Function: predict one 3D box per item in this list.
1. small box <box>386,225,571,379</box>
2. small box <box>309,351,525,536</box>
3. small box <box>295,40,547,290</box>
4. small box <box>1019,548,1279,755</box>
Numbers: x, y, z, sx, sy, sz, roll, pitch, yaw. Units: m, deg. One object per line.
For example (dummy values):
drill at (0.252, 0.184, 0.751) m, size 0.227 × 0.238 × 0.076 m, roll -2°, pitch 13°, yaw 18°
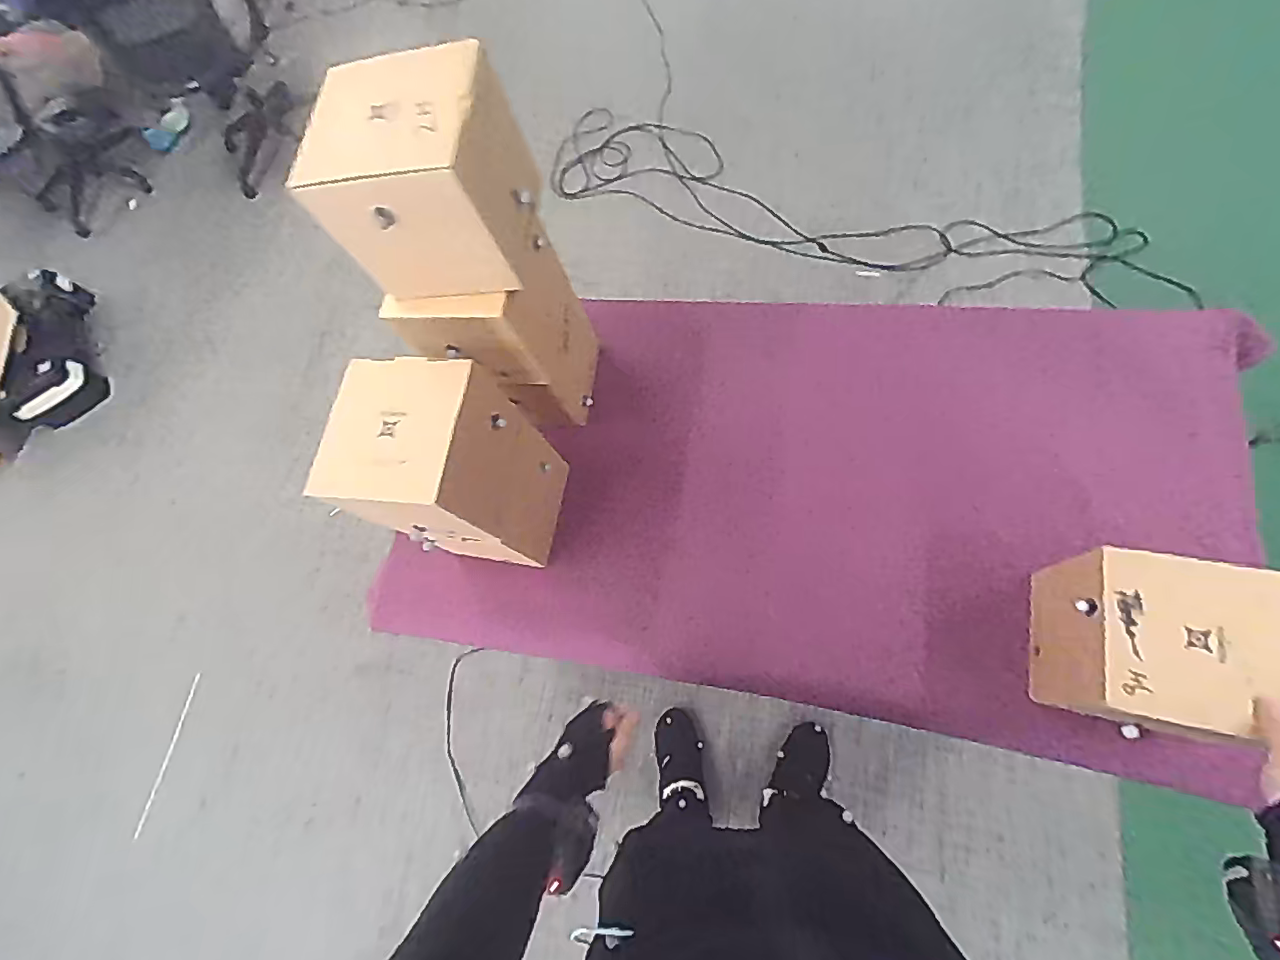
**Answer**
small box at (-0.206, -0.252, 0.742) m, size 0.168 × 0.176 × 0.179 m, roll 4°, pitch 72°, yaw 13°
small box at (-0.260, -0.040, 0.678) m, size 0.168 × 0.176 × 0.179 m, roll 5°, pitch 72°, yaw 13°
small box at (-0.222, -0.328, 0.595) m, size 0.179 × 0.176 × 0.168 m, roll 1°, pitch 72°, yaw 12°
small box at (0.565, 0.187, 0.604) m, size 0.179 × 0.176 × 0.168 m, roll 10°, pitch 73°, yaw 15°
